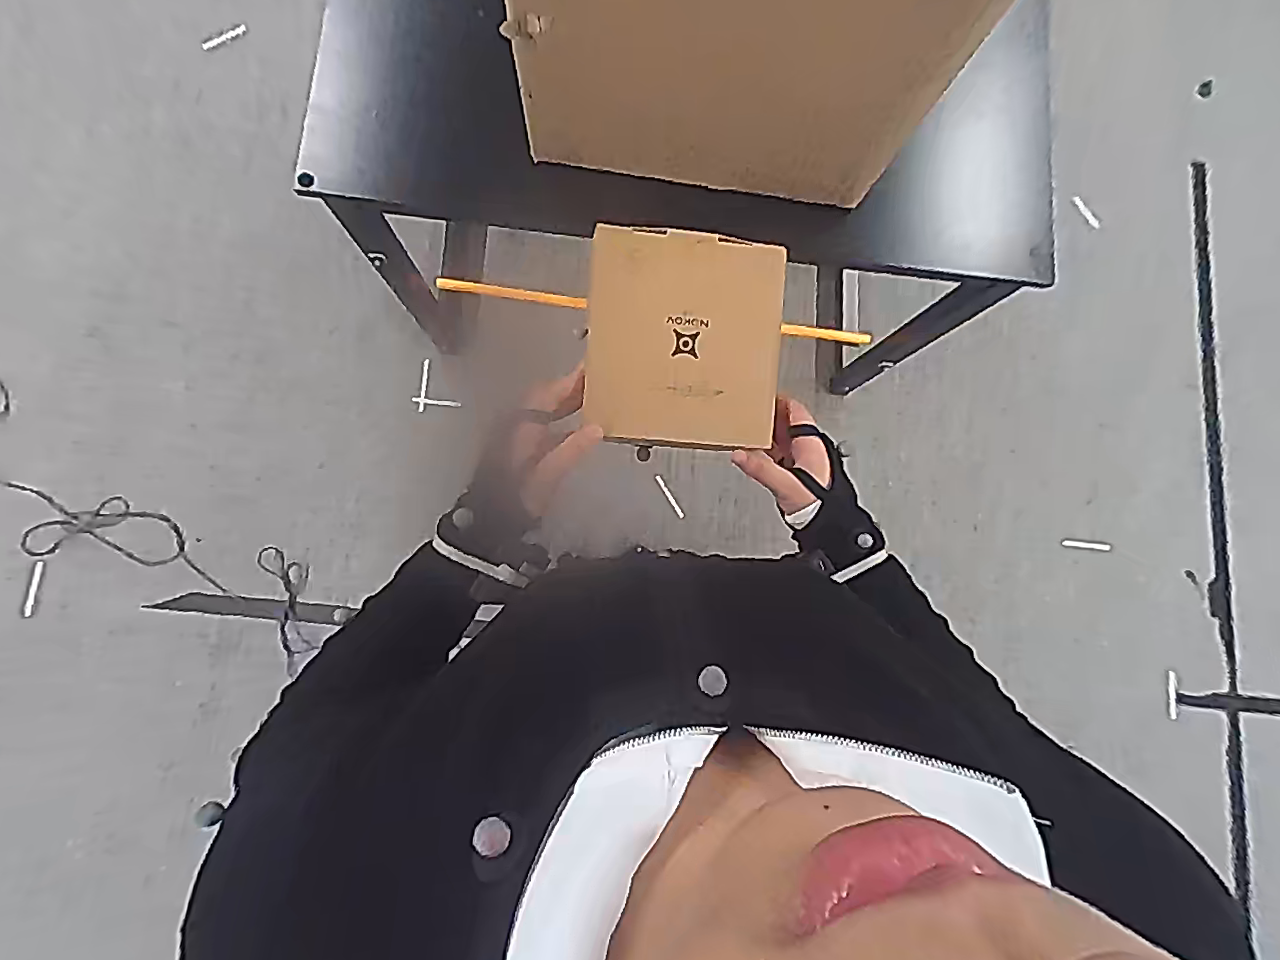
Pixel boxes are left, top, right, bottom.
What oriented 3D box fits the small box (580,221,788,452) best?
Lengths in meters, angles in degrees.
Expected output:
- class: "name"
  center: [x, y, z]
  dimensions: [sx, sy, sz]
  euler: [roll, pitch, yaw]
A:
- class: "small box"
  center: [0.030, -0.122, 0.529]
  dimensions: [0.168, 0.176, 0.179]
  euler: [4, 93, -7]
